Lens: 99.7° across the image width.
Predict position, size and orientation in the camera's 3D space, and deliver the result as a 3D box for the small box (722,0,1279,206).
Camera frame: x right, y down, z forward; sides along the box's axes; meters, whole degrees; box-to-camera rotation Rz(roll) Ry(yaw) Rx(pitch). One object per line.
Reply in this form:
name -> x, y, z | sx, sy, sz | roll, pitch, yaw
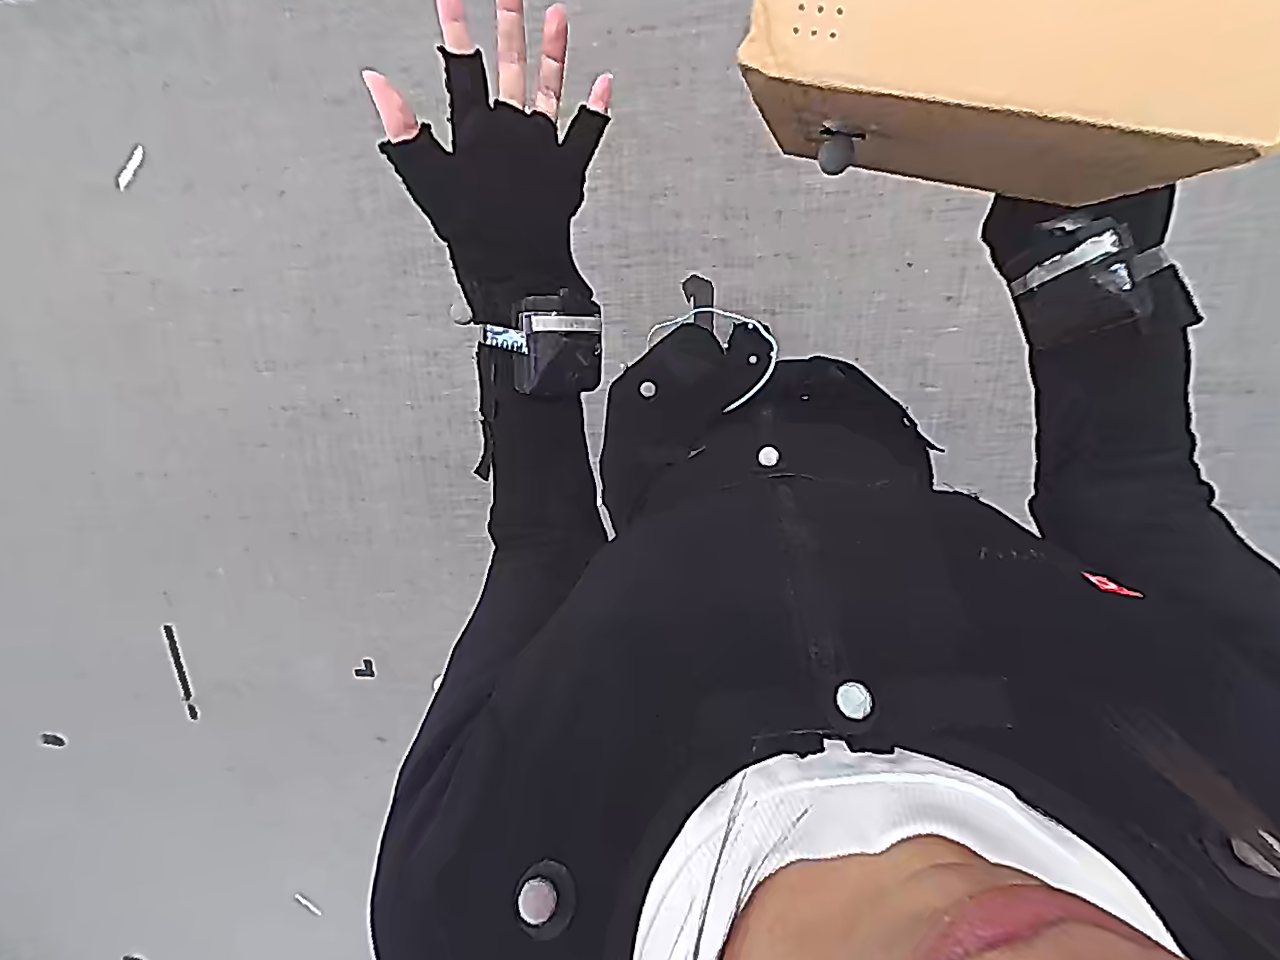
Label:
small box -> 0.143, -0.231, 0.221 | 0.176, 0.168, 0.179 | 19, 116, 14
